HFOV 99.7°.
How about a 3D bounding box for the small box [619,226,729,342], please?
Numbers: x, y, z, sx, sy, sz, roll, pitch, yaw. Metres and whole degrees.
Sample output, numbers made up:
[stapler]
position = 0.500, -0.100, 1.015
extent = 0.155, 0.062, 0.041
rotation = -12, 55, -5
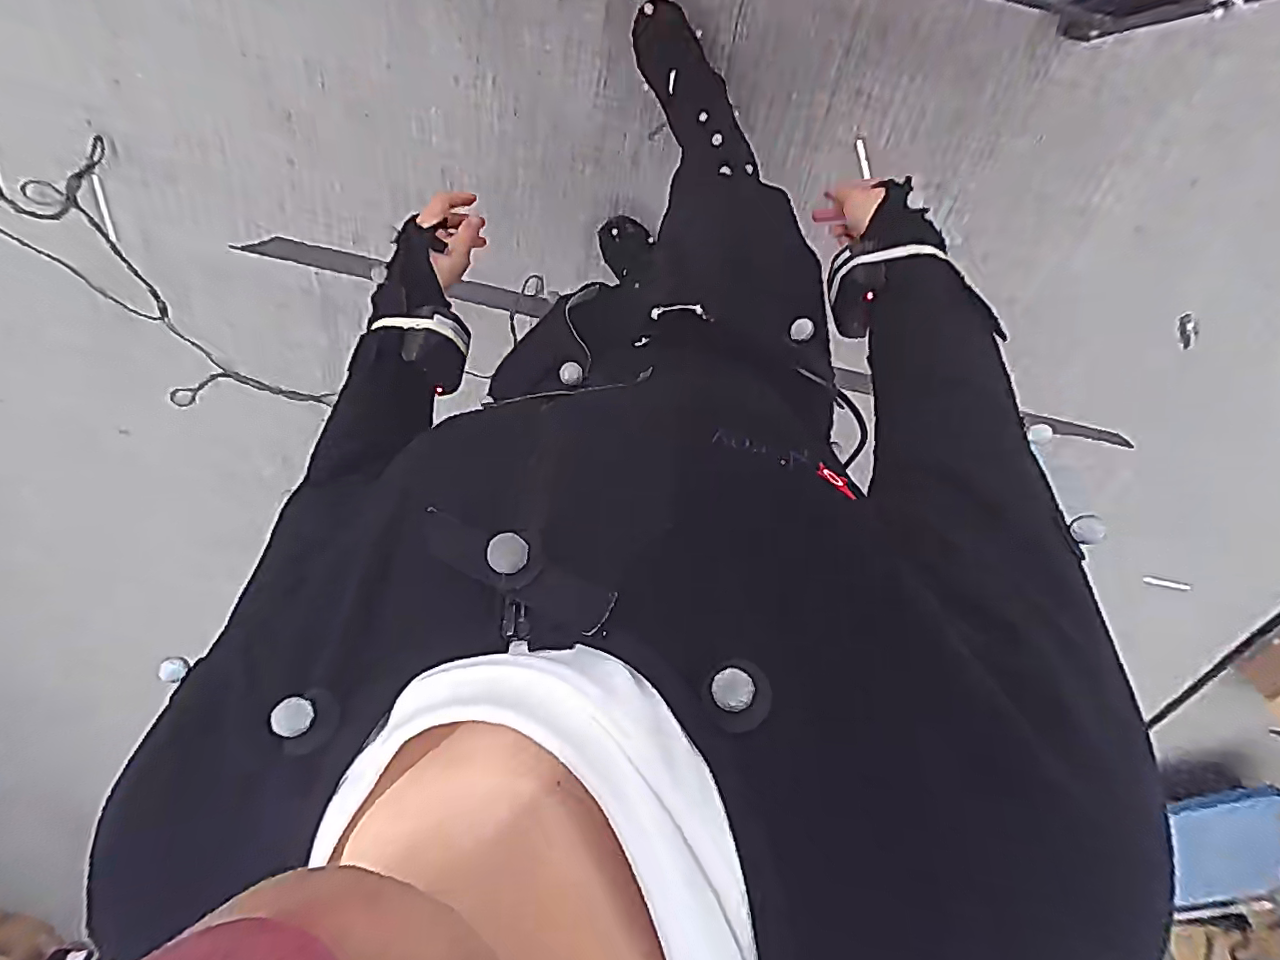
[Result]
[small box]
position = 0.068, -0.406, 1.126
extent = 0.179, 0.176, 0.168
rotation = -26, 114, 16
